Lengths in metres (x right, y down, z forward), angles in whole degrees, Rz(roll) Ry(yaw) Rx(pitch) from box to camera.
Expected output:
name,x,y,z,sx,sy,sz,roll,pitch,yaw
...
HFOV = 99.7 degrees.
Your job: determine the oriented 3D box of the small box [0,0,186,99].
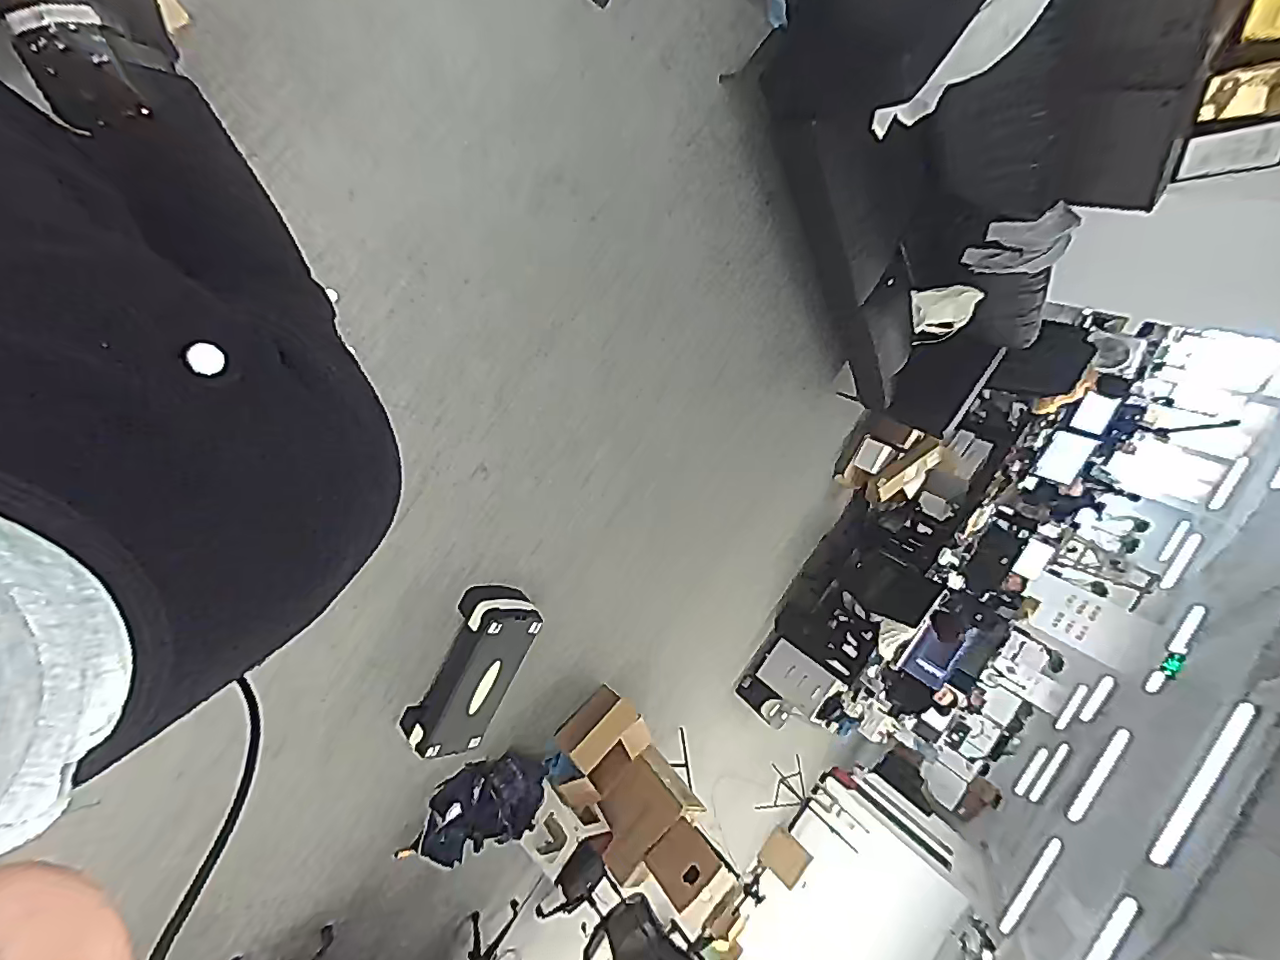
name,x,y,z,sx,sy,sz,roll,pitch,yaw
small box,-0.837,-0.698,0.802,0.179,0.176,0.168,-47,139,-14
